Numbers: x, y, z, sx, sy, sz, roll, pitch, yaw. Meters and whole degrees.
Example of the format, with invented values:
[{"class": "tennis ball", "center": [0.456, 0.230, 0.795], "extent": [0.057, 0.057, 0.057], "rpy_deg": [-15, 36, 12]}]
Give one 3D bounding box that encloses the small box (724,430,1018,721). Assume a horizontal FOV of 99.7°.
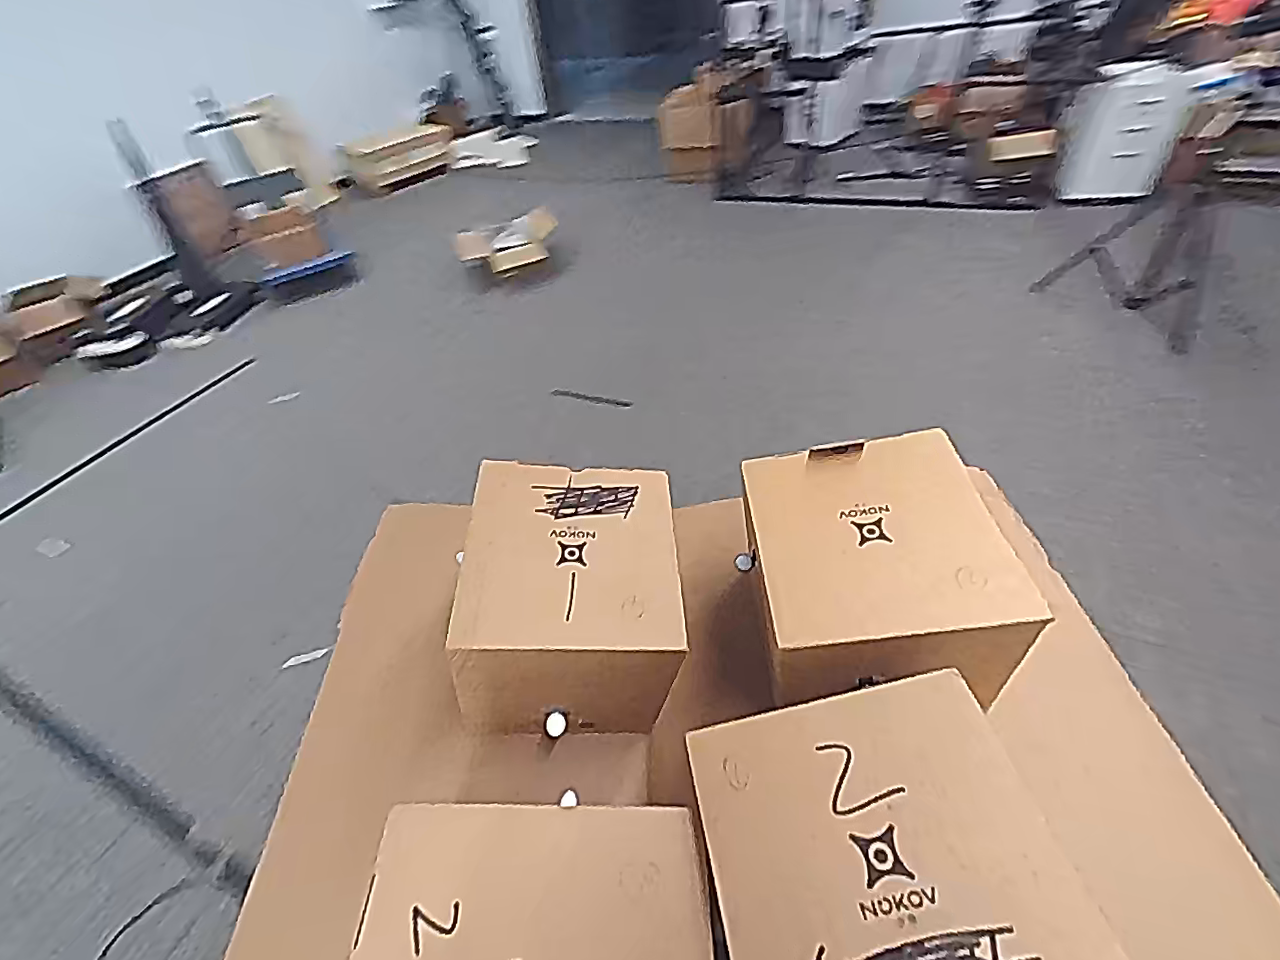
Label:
[{"class": "small box", "center": [0.173, 0.088, 0.458], "extent": [0.168, 0.176, 0.179], "rpy_deg": [-10, 45, 7]}]
